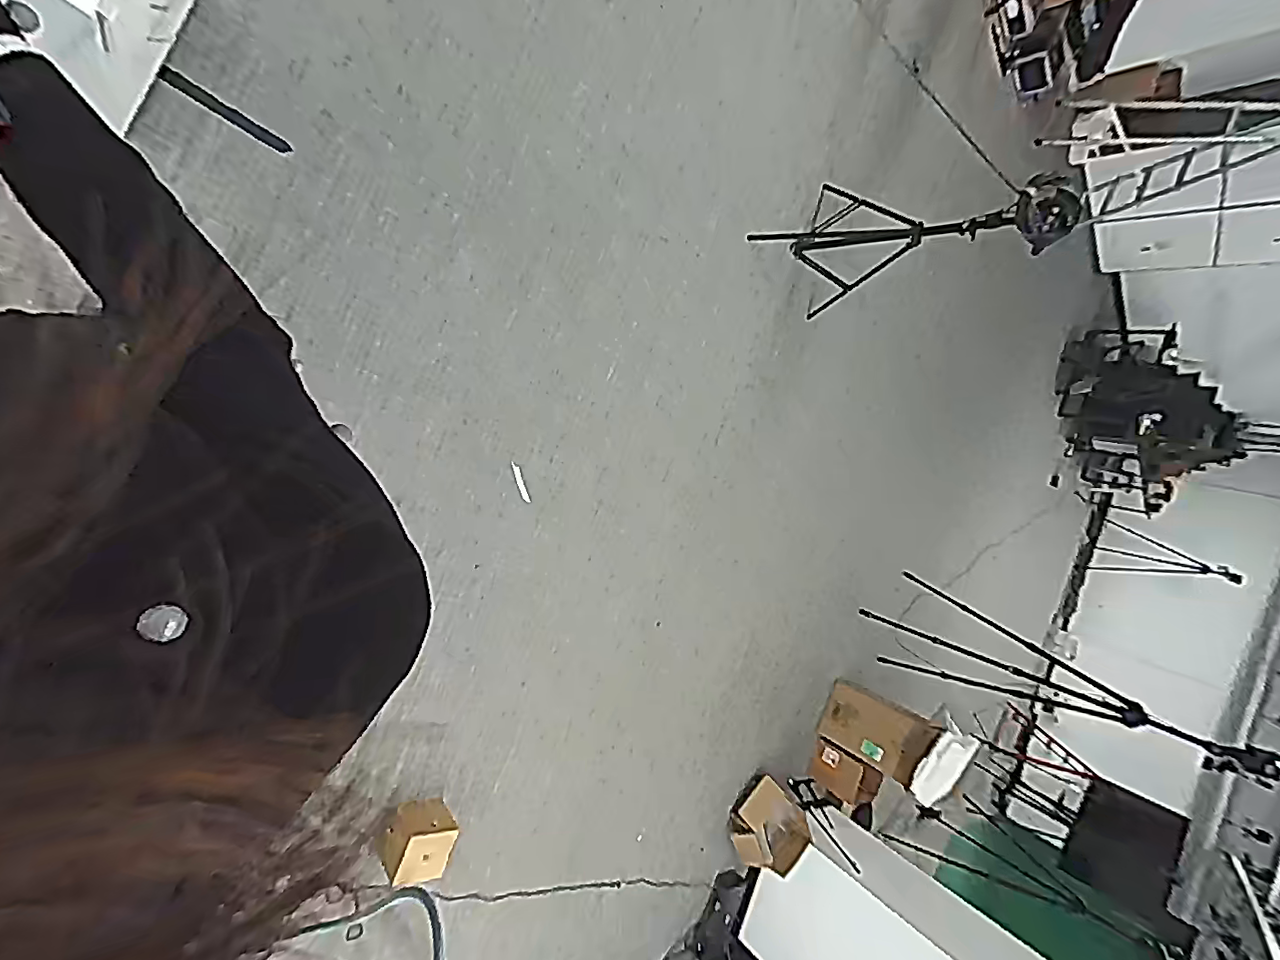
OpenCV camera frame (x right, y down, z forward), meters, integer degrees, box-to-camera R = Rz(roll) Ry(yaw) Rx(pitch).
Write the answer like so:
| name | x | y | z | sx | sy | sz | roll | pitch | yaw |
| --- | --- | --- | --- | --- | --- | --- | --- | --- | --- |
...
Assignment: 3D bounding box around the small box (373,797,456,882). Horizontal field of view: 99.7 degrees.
| name | x | y | z | sx | sy | sz | roll | pitch | yaw |
| --- | --- | --- | --- | --- | --- | --- | --- | --- | --- |
| small box | -0.758 | 1.193 | 1.812 | 0.179 | 0.176 | 0.168 | 26 | 84 | -43 |
